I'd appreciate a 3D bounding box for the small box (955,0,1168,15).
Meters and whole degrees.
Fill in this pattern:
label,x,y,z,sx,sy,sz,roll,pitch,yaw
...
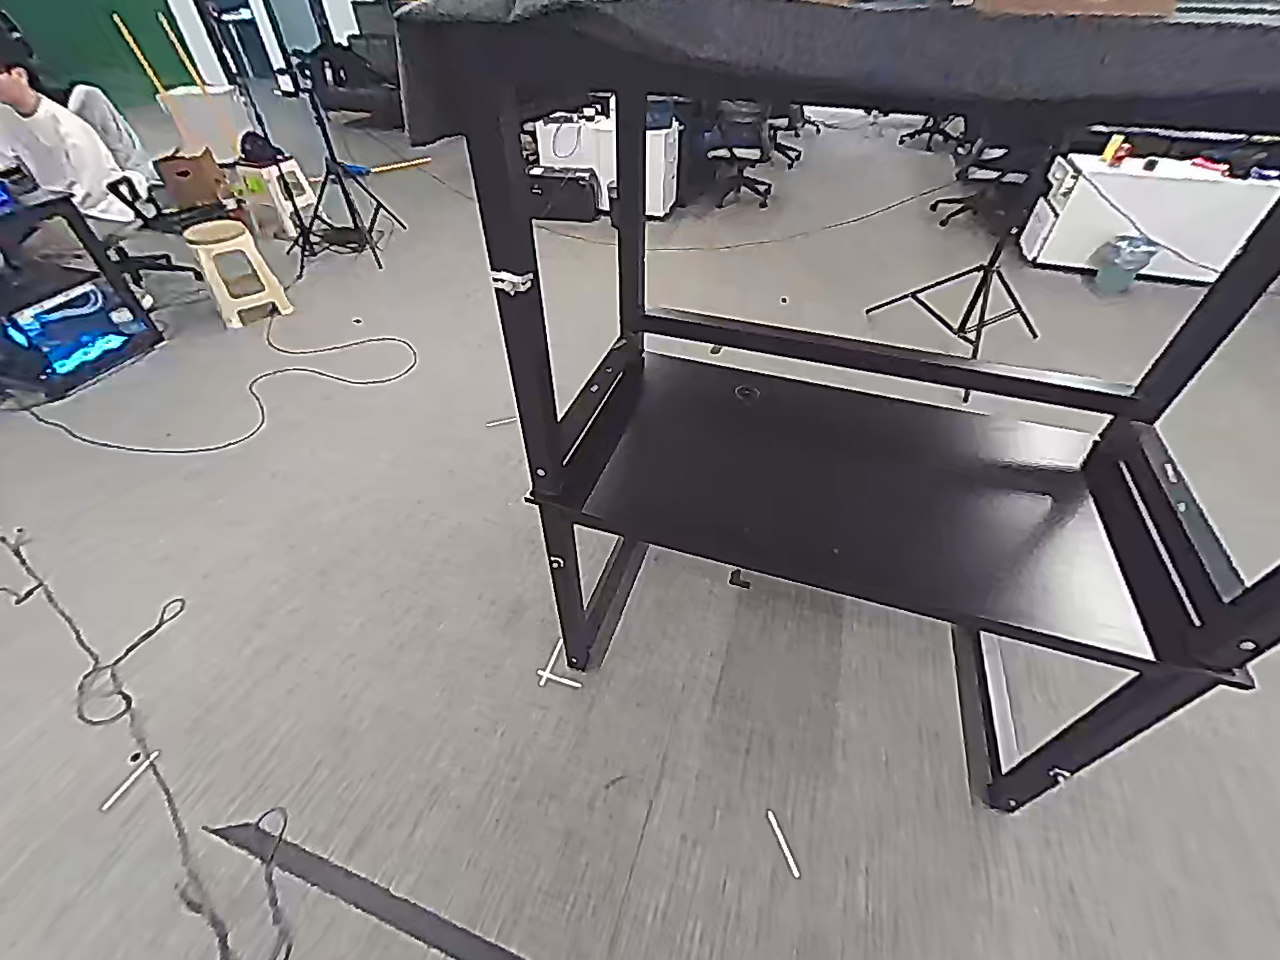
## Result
label,x,y,z,sx,sy,sz,roll,pitch,yaw
small box,0.415,-0.541,0.497,0.168,0.176,0.179,13,43,12
